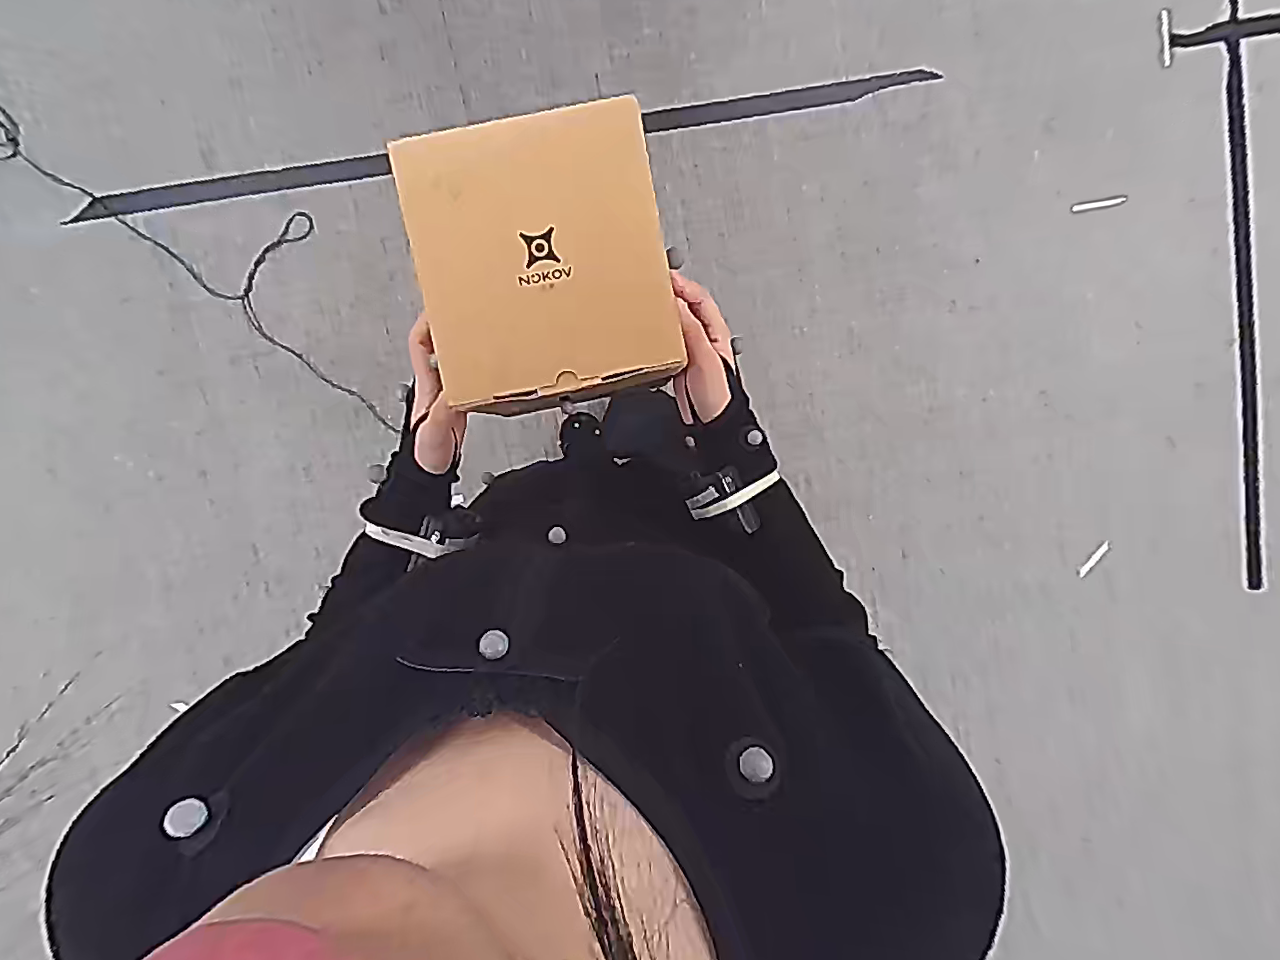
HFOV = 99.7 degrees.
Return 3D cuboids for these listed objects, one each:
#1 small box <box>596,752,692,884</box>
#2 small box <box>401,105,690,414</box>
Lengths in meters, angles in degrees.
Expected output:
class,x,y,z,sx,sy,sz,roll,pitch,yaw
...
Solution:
class,x,y,z,sx,sy,sz,roll,pitch,yaw
small box,0.004,0.733,1.193,0.179,0.176,0.168,-13,96,-2
small box,-0.065,-0.155,0.440,0.168,0.176,0.179,-12,96,-1
